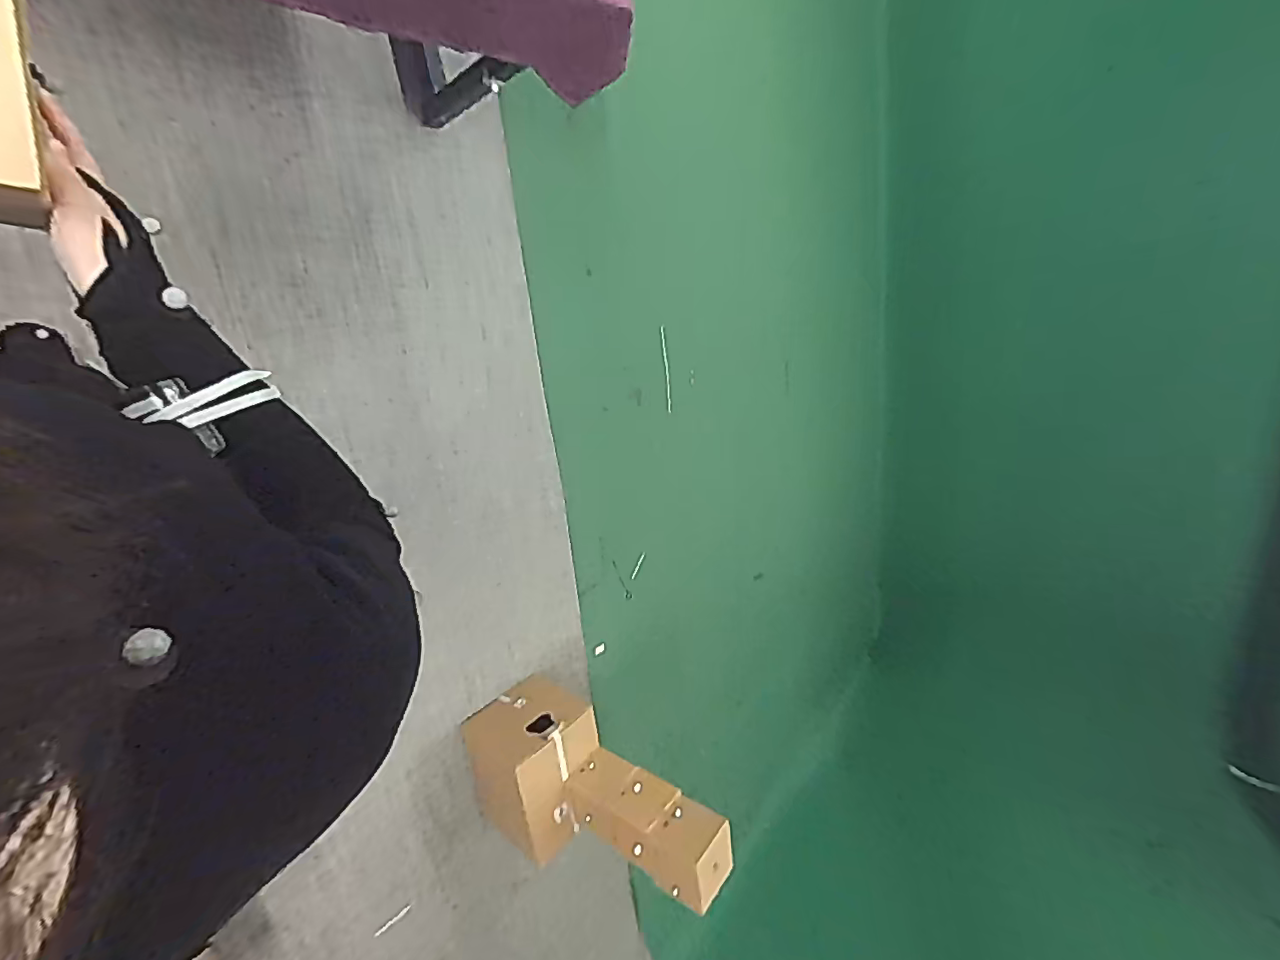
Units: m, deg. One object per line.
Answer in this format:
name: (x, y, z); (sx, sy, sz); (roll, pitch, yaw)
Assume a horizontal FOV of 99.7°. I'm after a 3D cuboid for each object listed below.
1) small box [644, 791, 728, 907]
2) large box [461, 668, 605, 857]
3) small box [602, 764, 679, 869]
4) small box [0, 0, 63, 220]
small box: (0.130, 1.029, 1.525); (0.168, 0.176, 0.179); (-24, 113, -47)
large box: (-0.356, 0.929, 1.826); (0.320, 0.320, 0.408); (-24, 115, -43)
small box: (0.007, 1.005, 1.630); (0.168, 0.176, 0.179); (-26, 115, -46)
small box: (-0.446, -0.260, 0.293); (0.168, 0.176, 0.179); (-9, 108, -43)
